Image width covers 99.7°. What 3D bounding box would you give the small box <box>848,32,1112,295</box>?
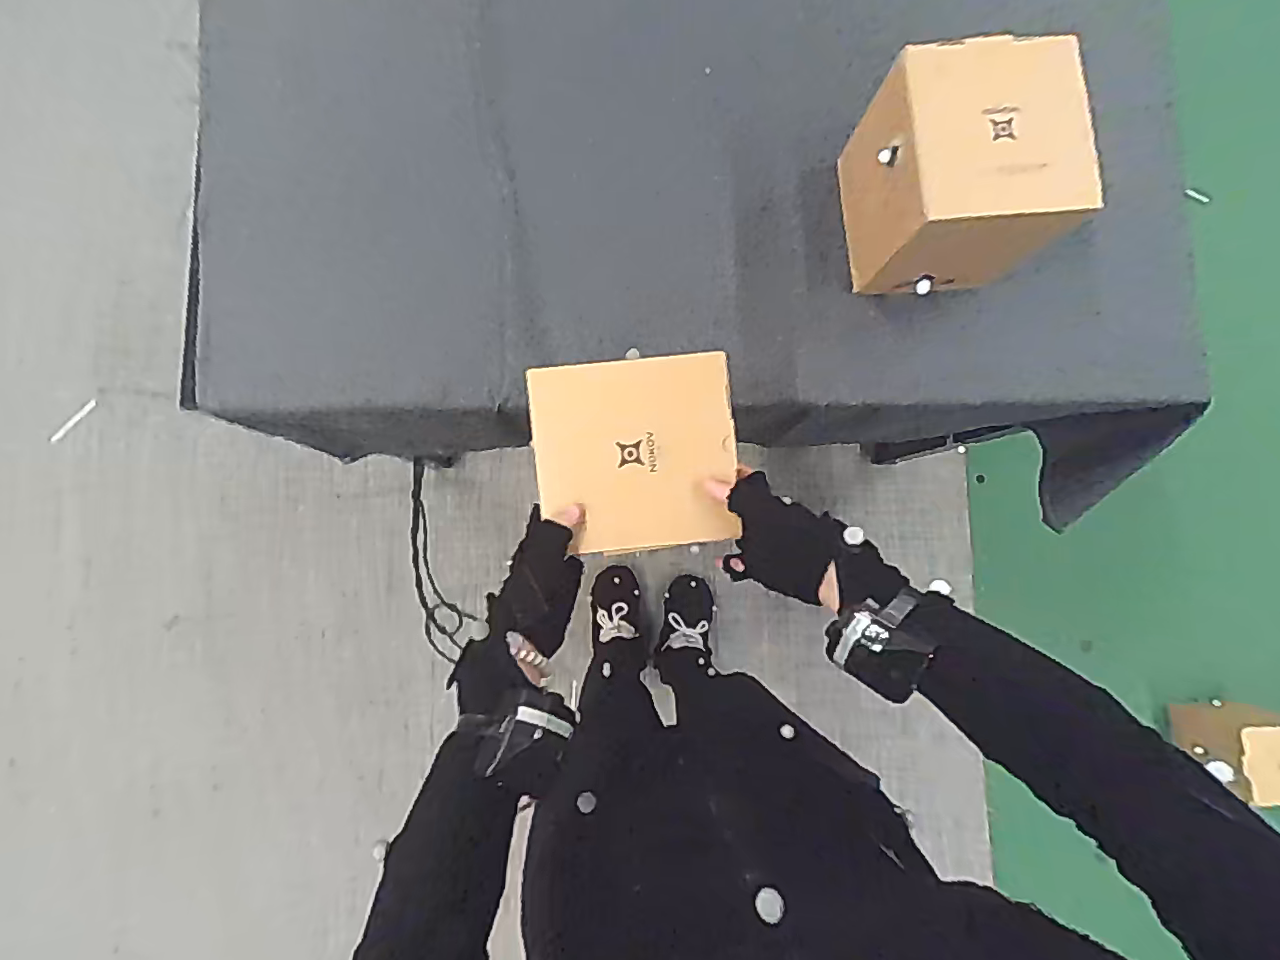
[{"bbox_3d":[0.333,-0.315,0.567,0.168,0.176,0.179,-3,86,-1],"label":"small box"}]

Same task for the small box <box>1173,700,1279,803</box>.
[{"bbox_3d":[1.392,0.621,1.251,0.179,0.176,0.168,-2,85,-1],"label":"small box"}]

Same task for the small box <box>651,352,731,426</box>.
[{"bbox_3d":[0.111,-0.198,1.279,0.179,0.176,0.168,-2,85,-1],"label":"small box"}]

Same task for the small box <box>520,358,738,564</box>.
[{"bbox_3d":[-0.010,-0.016,0.541,0.179,0.176,0.168,-6,91,-2],"label":"small box"}]
